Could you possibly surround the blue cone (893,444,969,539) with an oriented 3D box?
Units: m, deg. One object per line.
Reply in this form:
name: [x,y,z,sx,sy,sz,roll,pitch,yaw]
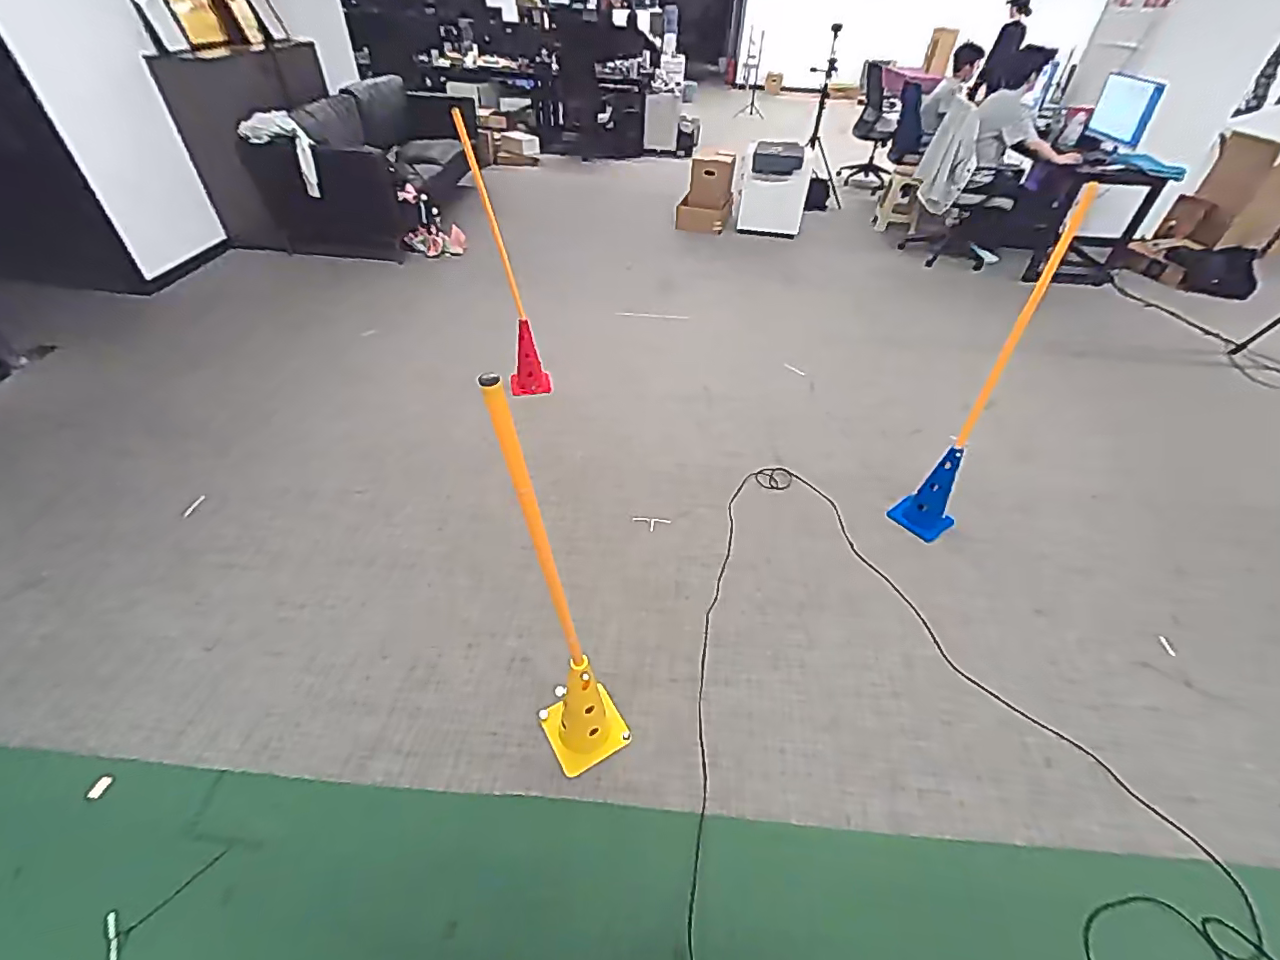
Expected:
blue cone: [1.126,0.020,2.030,0.193,0.380,0.192,-27,49,-31]
